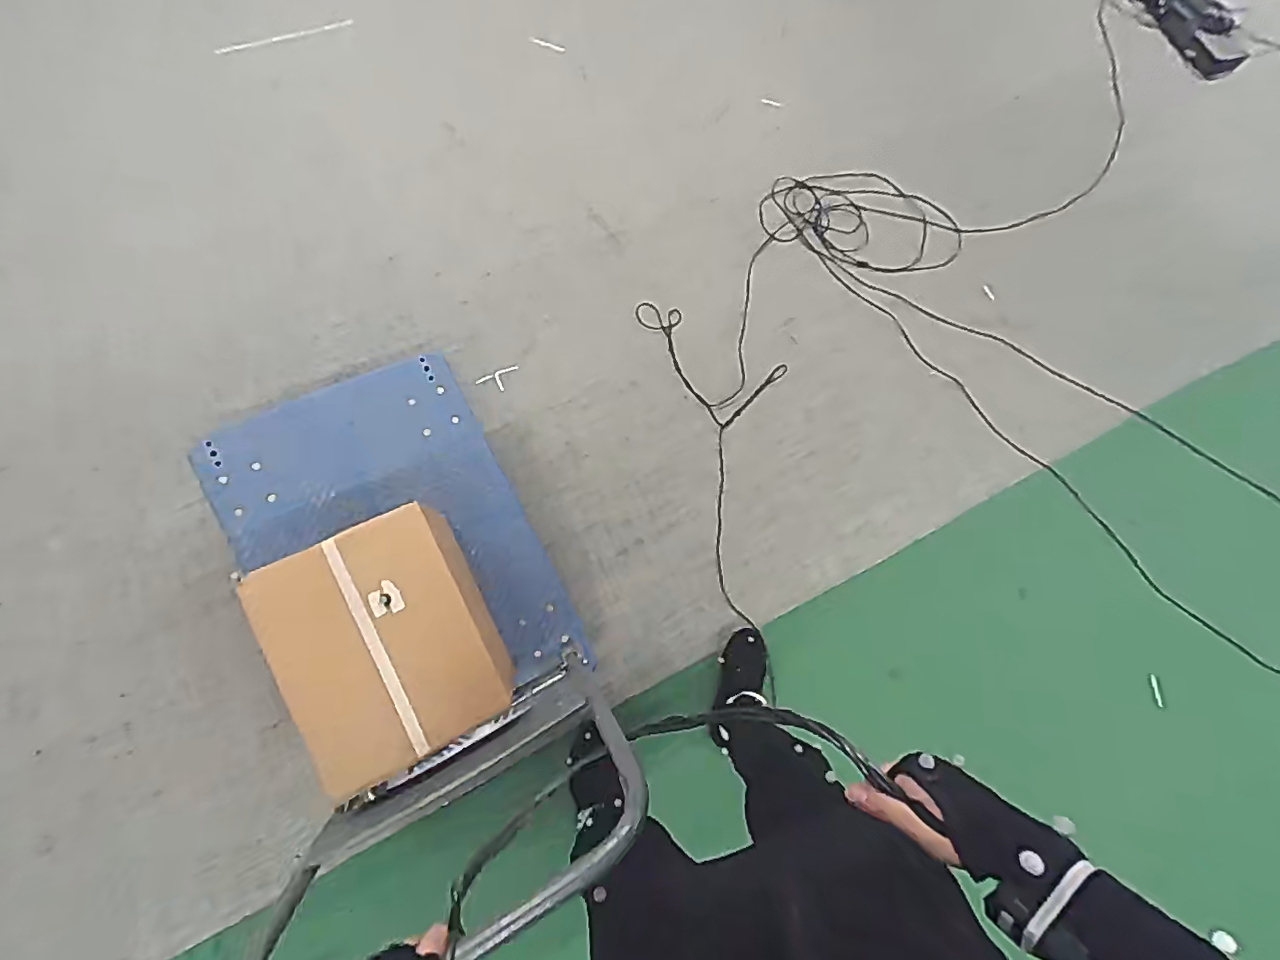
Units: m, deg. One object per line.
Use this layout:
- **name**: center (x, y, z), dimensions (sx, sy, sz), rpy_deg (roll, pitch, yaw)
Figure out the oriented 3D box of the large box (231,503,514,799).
- **large box**: center (-0.476, 0.299, 1.055), dimensions (0.320, 0.320, 0.408), rpy_deg (-26, 88, -15)
